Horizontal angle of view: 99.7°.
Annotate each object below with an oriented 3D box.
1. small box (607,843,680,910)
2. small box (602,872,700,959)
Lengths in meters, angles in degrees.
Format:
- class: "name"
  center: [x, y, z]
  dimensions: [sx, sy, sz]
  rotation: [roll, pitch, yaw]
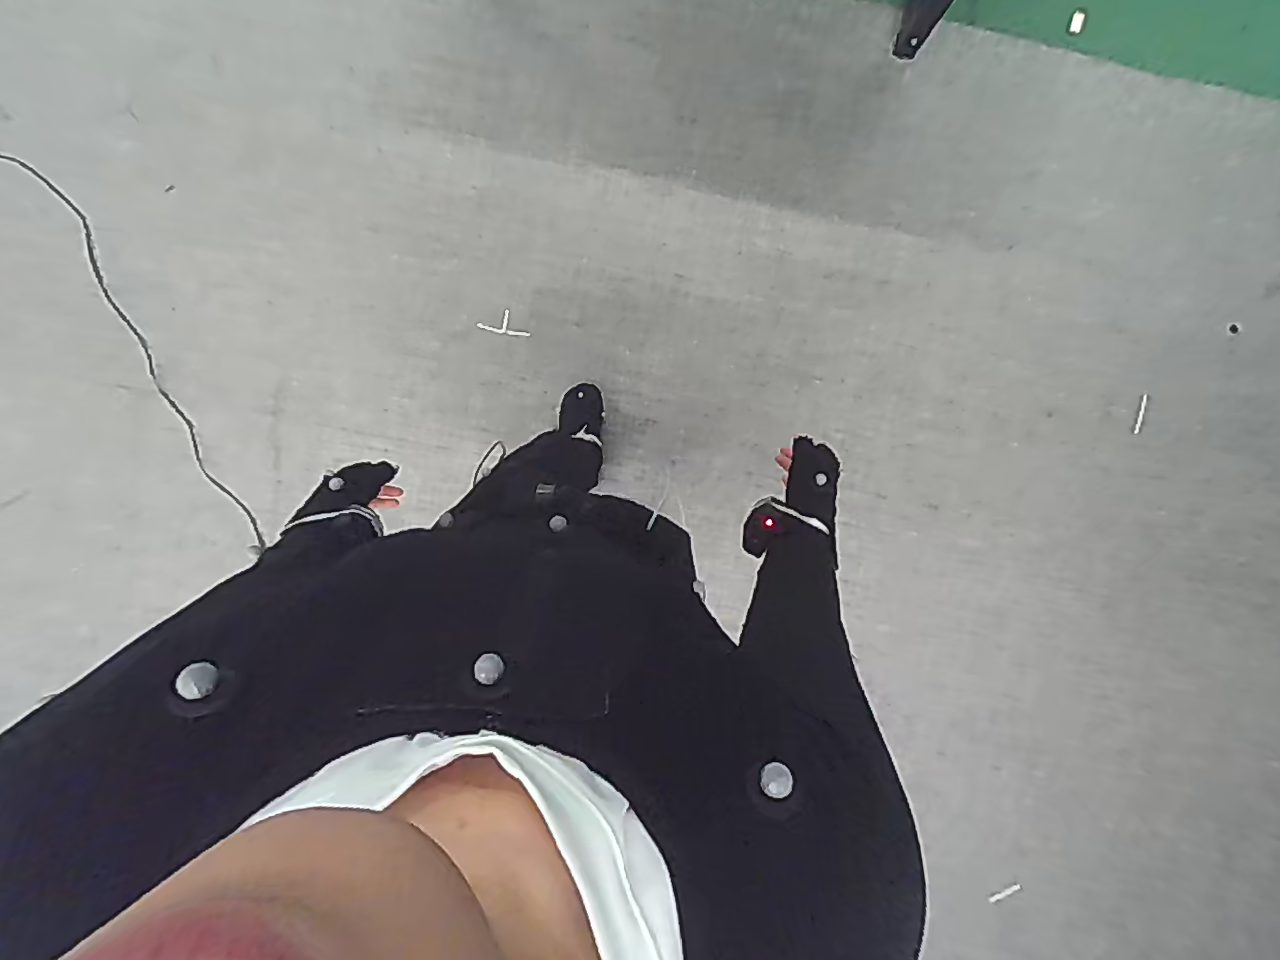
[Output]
- class: "small box"
  center: [0.005, 1.110, 1.447]
  dimensions: [0.179, 0.176, 0.168]
  rotation: [6, 94, -3]
- class: "small box"
  center: [0.018, 1.105, 1.300]
  dimensions: [0.168, 0.176, 0.179]
  rotation: [40, 93, -4]
